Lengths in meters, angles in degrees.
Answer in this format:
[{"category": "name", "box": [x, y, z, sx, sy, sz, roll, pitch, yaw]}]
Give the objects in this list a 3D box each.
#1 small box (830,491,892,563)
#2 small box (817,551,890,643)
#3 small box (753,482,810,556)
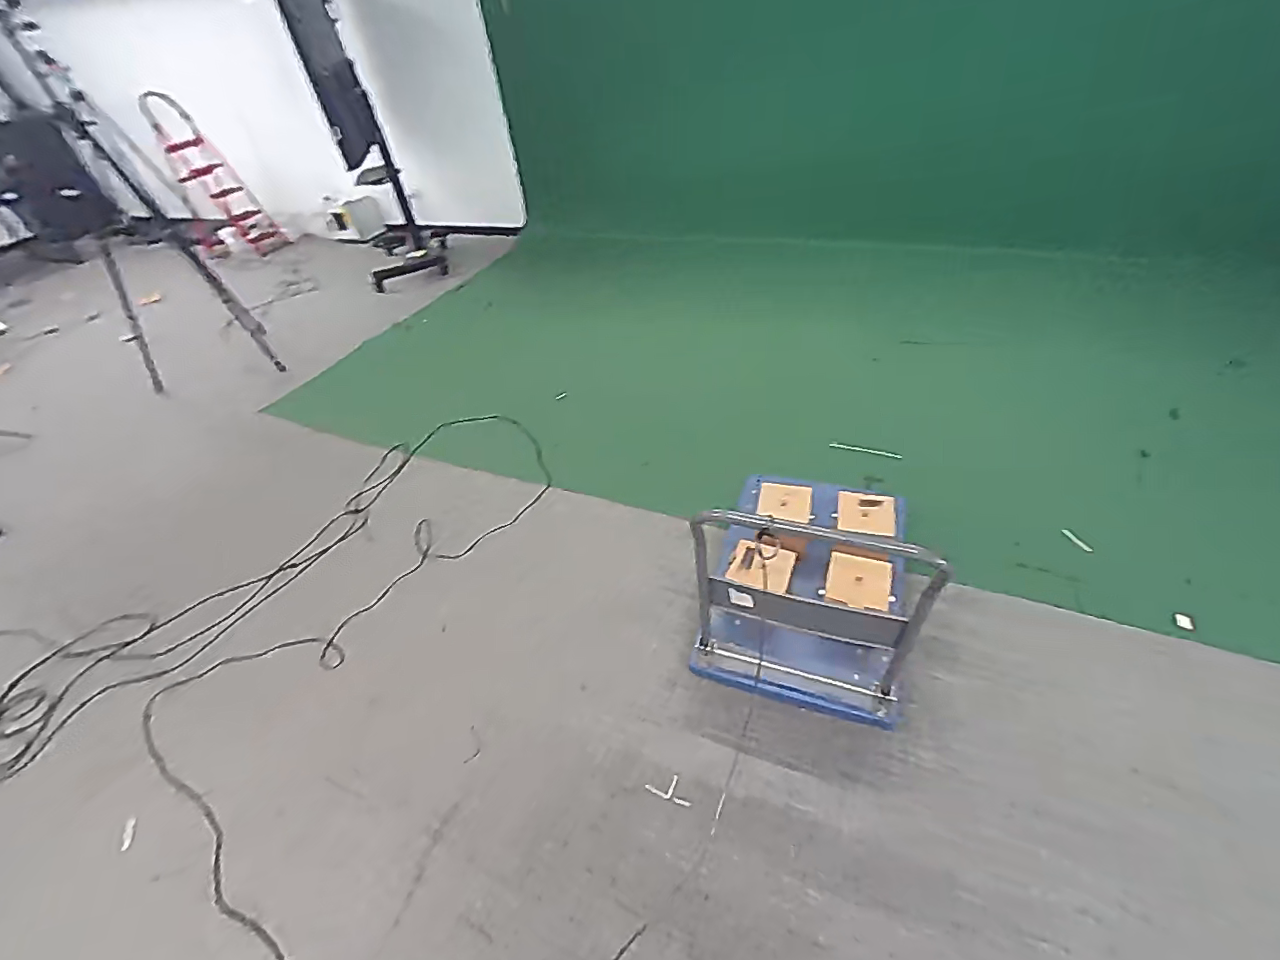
[{"category": "small box", "box": [0.717, 0.163, 1.760, 0.168, 0.176, 0.179, 7, 45, 17]}, {"category": "small box", "box": [0.621, 0.342, 1.582, 0.168, 0.176, 0.179, 11, 47, 20]}, {"category": "small box", "box": [0.477, 0.133, 1.832, 0.168, 0.176, 0.179, 8, 45, 16]}]
